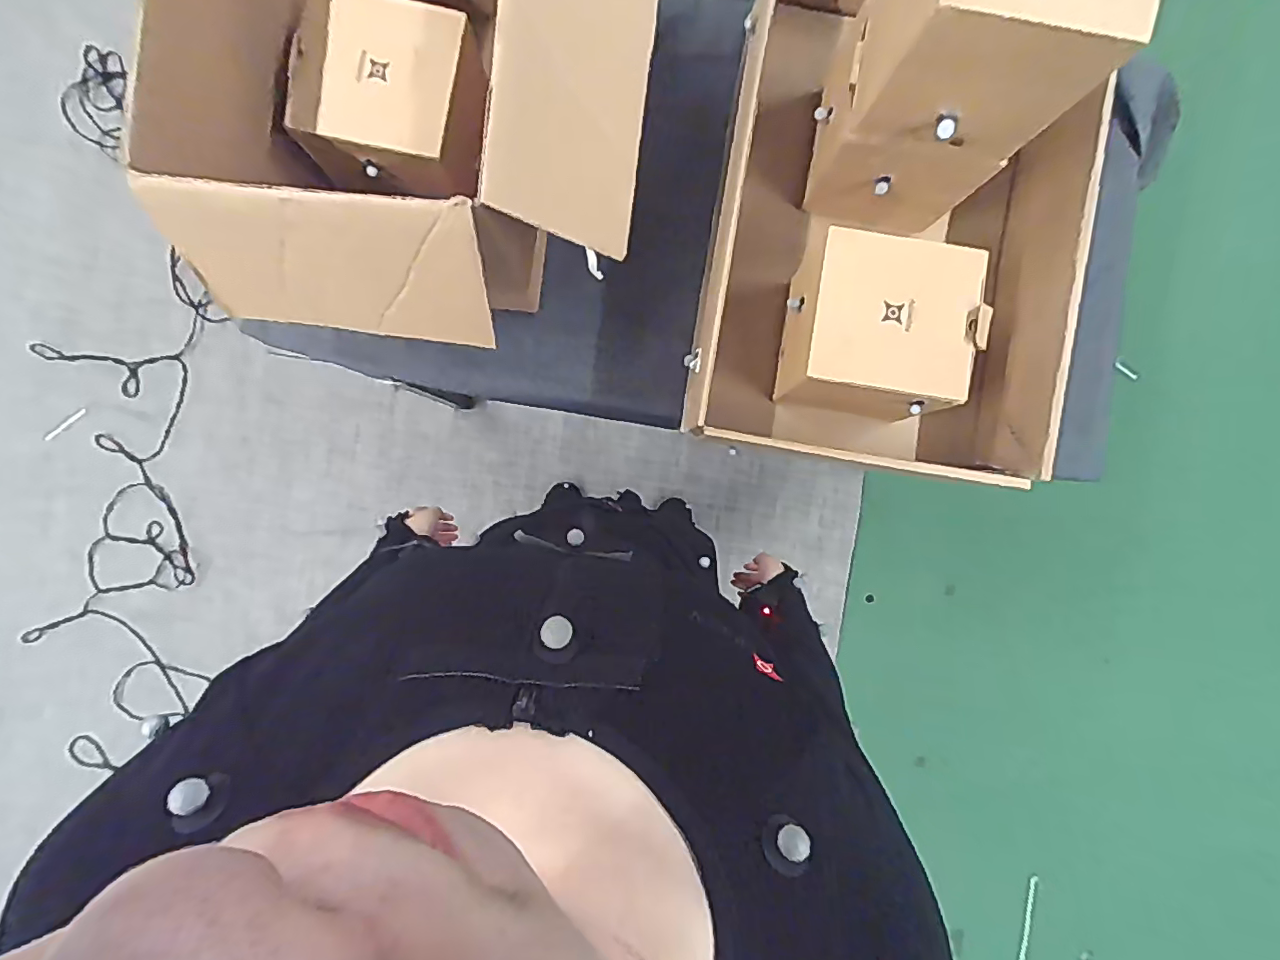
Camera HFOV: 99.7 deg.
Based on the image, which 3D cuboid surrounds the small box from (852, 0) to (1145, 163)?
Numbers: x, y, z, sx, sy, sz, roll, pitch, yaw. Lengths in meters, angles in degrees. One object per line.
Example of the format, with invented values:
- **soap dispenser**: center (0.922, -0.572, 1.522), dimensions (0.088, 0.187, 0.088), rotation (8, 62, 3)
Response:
- **small box**: center (0.316, -0.434, 0.495), dimensions (0.168, 0.176, 0.179), rotation (10, 93, -2)
